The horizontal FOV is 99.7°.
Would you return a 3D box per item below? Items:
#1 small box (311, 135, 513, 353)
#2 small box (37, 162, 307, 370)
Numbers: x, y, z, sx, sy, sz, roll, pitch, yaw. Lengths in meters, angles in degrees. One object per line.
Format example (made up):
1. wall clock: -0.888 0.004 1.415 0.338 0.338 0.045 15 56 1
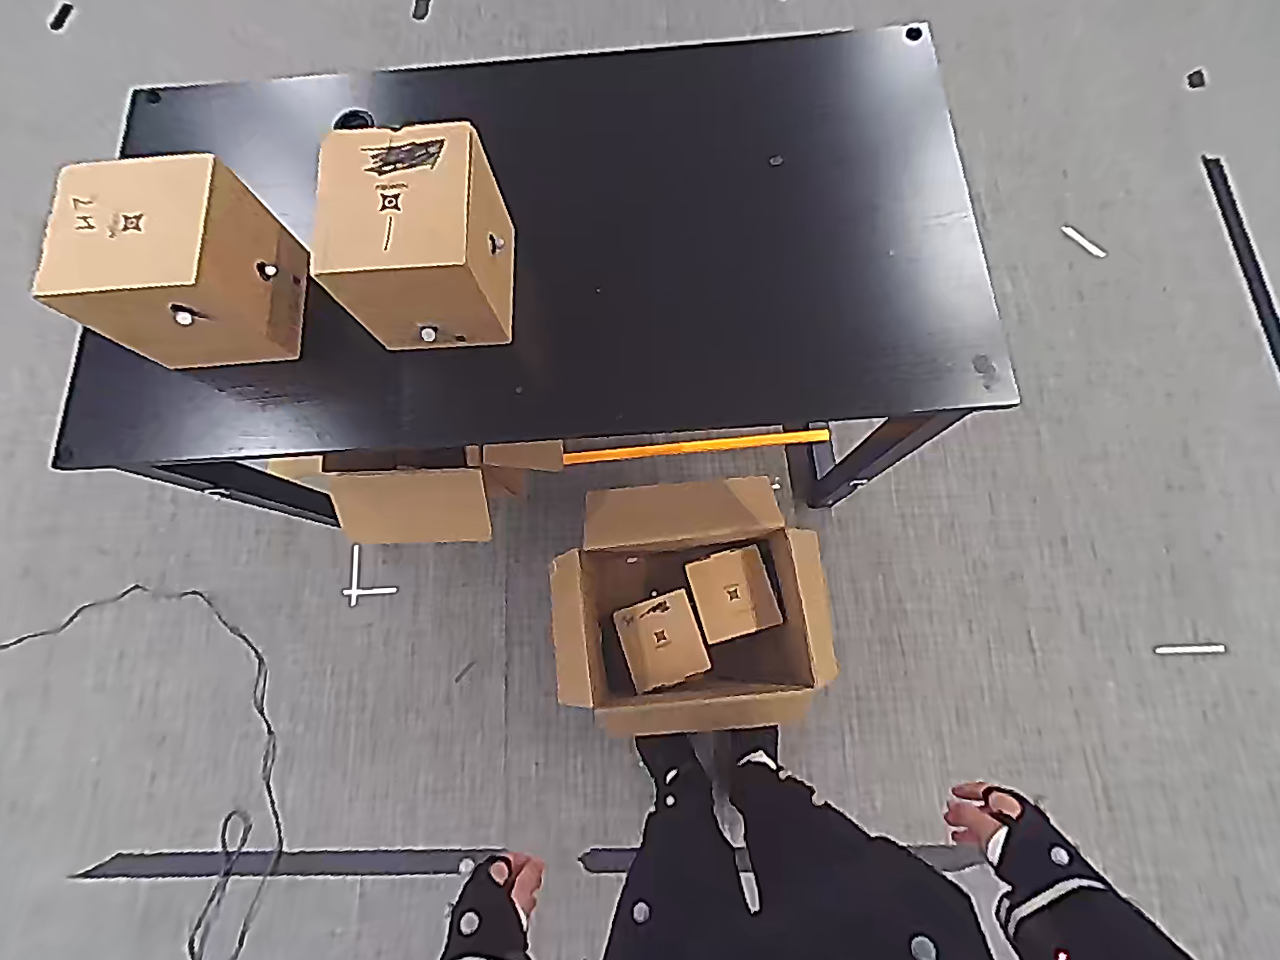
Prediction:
1. small box: -0.256 -0.272 0.650 0.168 0.176 0.179 -3 76 2
2. small box: -0.540 -0.246 0.654 0.179 0.176 0.168 -4 75 1
